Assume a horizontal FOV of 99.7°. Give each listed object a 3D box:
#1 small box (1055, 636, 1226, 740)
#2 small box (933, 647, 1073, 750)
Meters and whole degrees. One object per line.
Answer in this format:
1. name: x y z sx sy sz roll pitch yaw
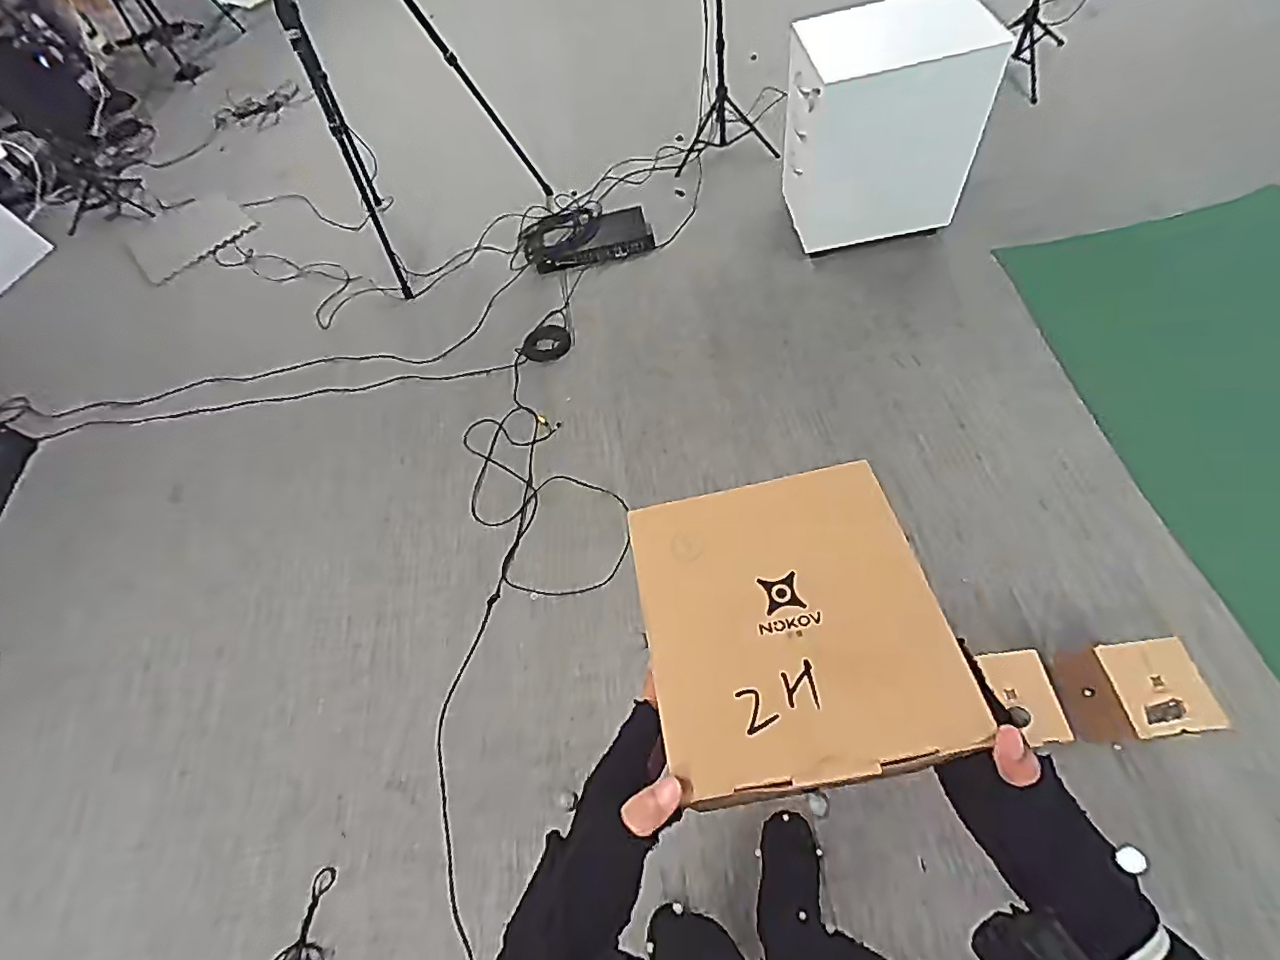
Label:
1. small box: 1.027 0.440 1.131 0.168 0.176 0.179 -9 59 5
2. small box: 0.762 0.473 1.161 0.168 0.176 0.179 -9 60 5
